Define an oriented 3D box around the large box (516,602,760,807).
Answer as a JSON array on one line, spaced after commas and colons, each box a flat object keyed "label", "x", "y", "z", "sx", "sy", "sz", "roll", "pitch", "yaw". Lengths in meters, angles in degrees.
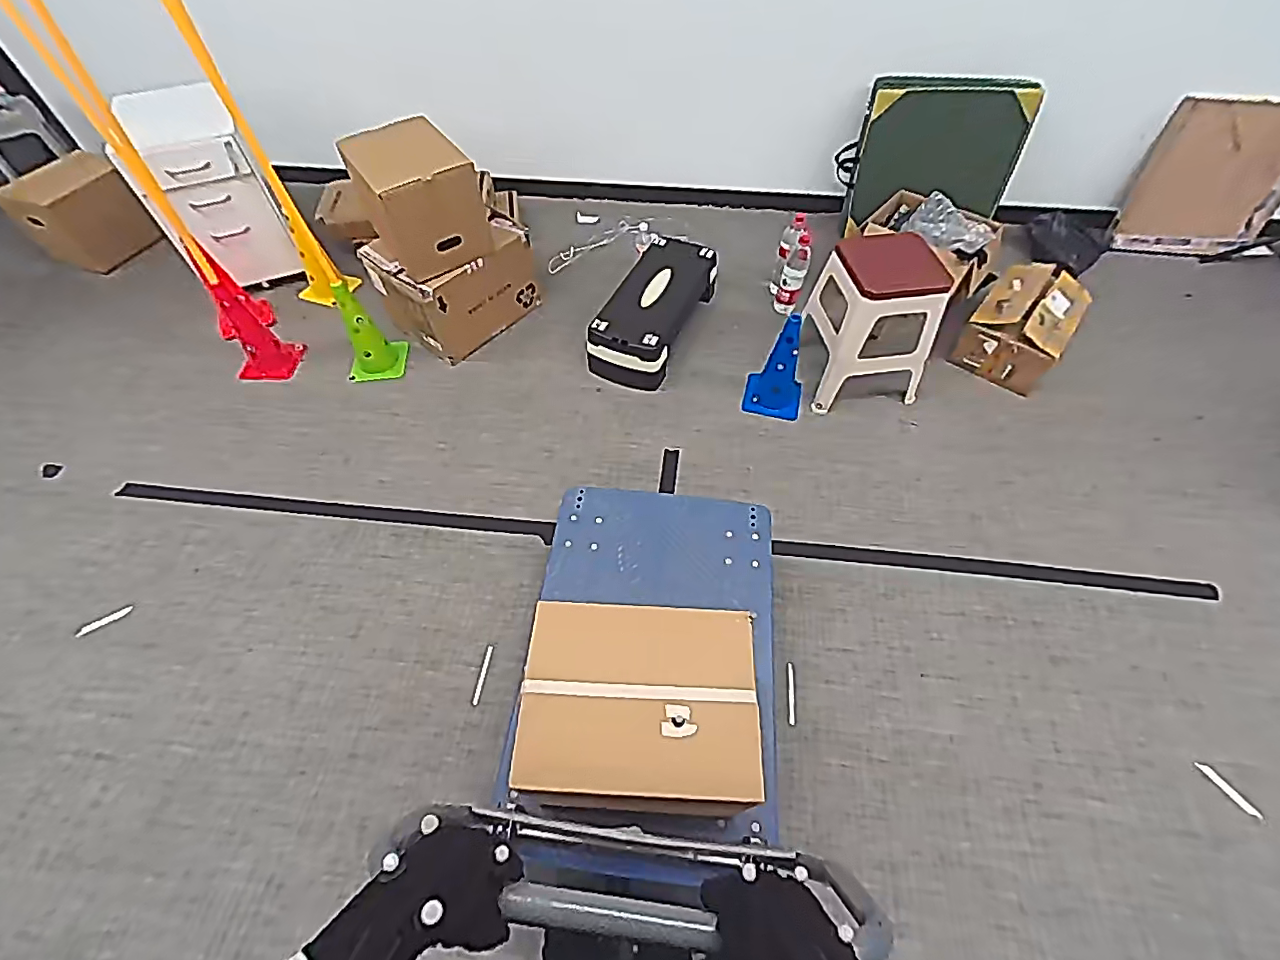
[{"label": "large box", "x": -0.004, "y": 0.454, "z": 1.075, "sx": 0.408, "sy": 0.320, "sz": 0.320, "roll": 3, "pitch": 56, "yaw": 0}]
